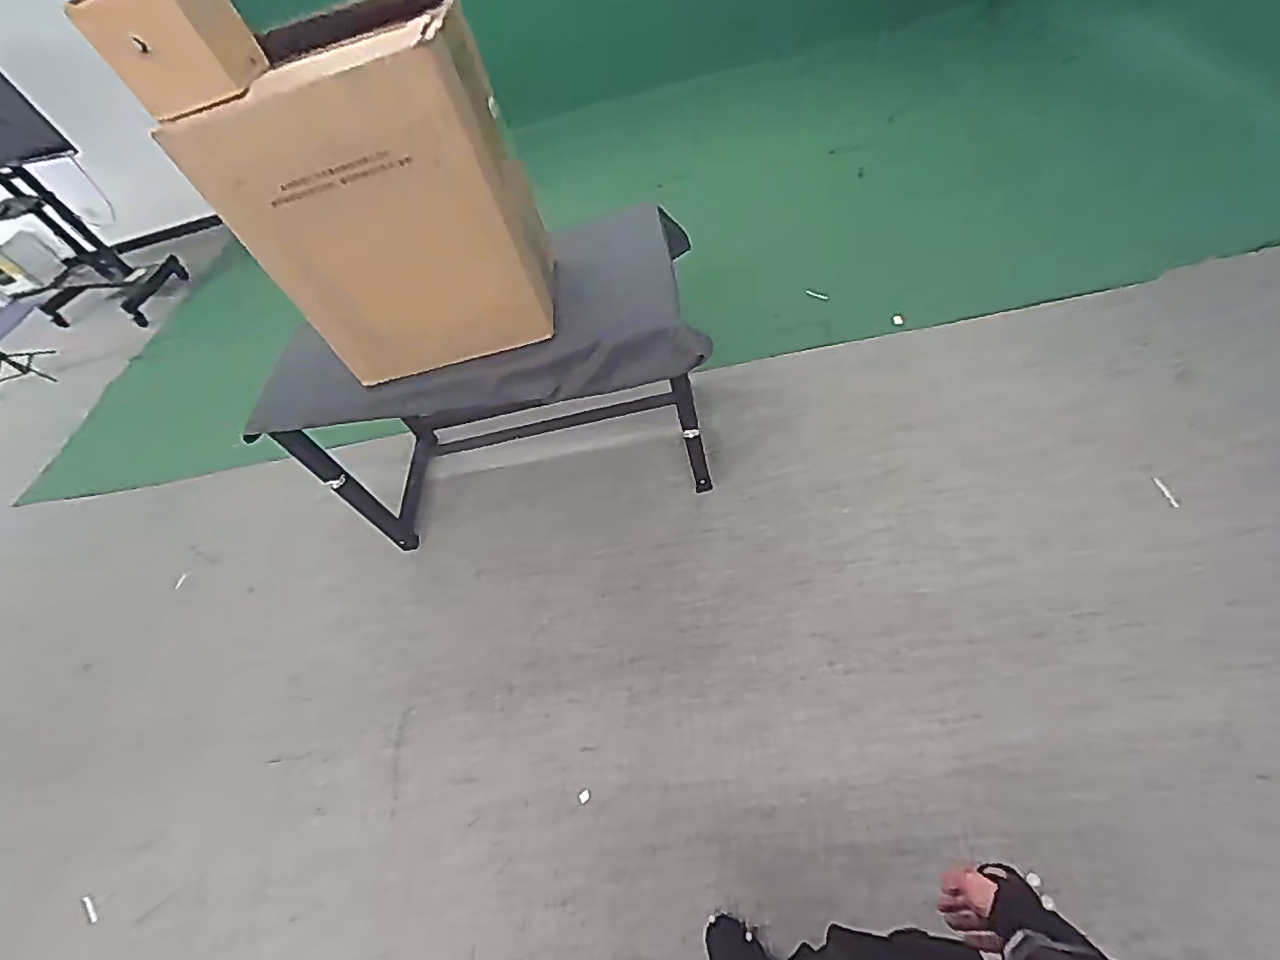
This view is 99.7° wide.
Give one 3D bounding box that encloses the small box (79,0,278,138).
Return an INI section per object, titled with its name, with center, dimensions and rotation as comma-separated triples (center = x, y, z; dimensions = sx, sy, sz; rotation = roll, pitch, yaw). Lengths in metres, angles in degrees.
[small box]
center = -0.802, -0.747, 0.962
dimensions = 0.179, 0.176, 0.168
rotation = -14, 52, 9
